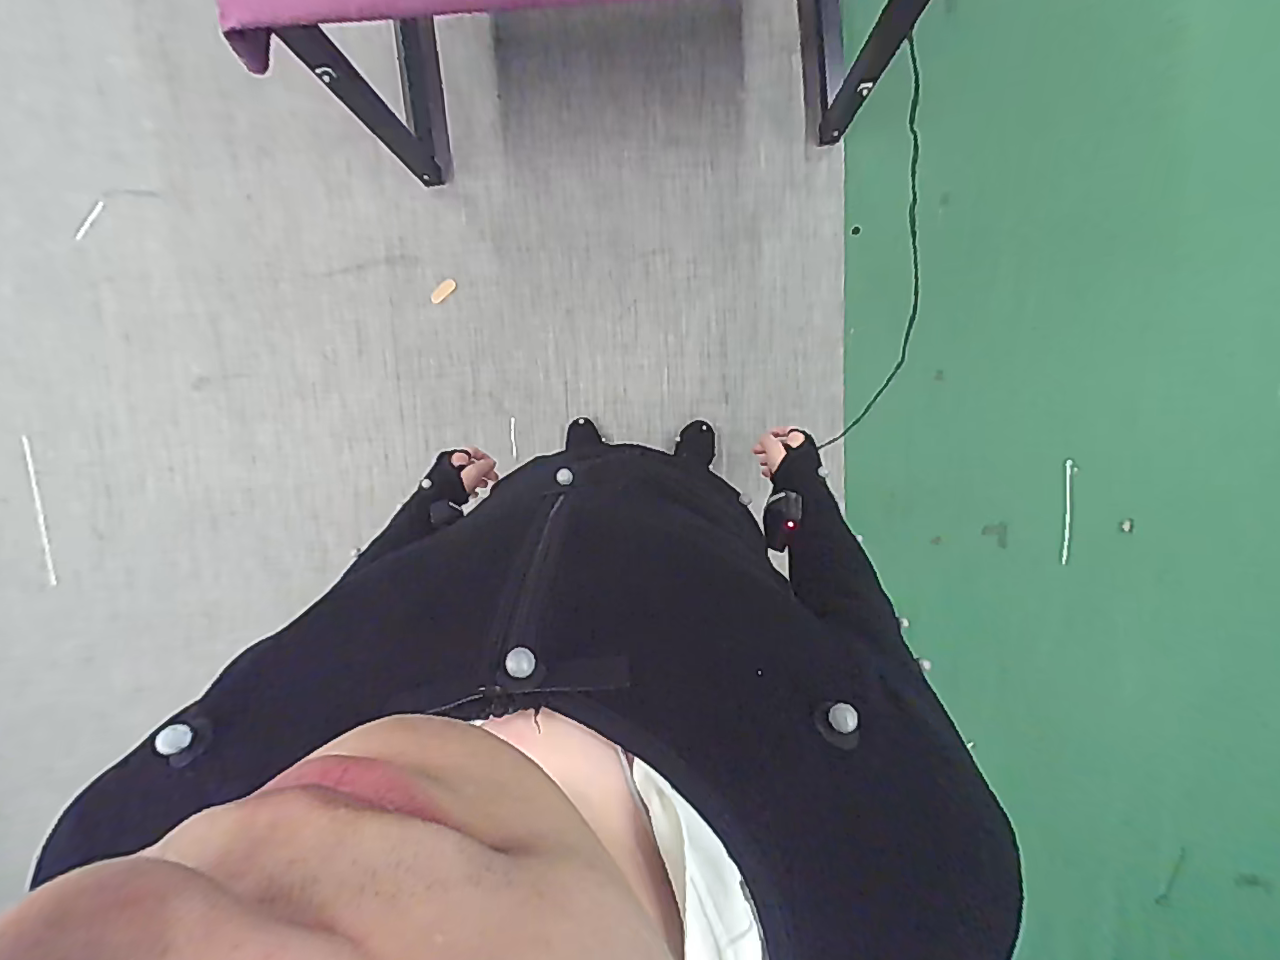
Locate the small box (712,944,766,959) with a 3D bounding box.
[{"bbox_3d":[0.238,1.205,1.213,0.179,0.176,0.168,-28,96,4],"label":"small box"}]
